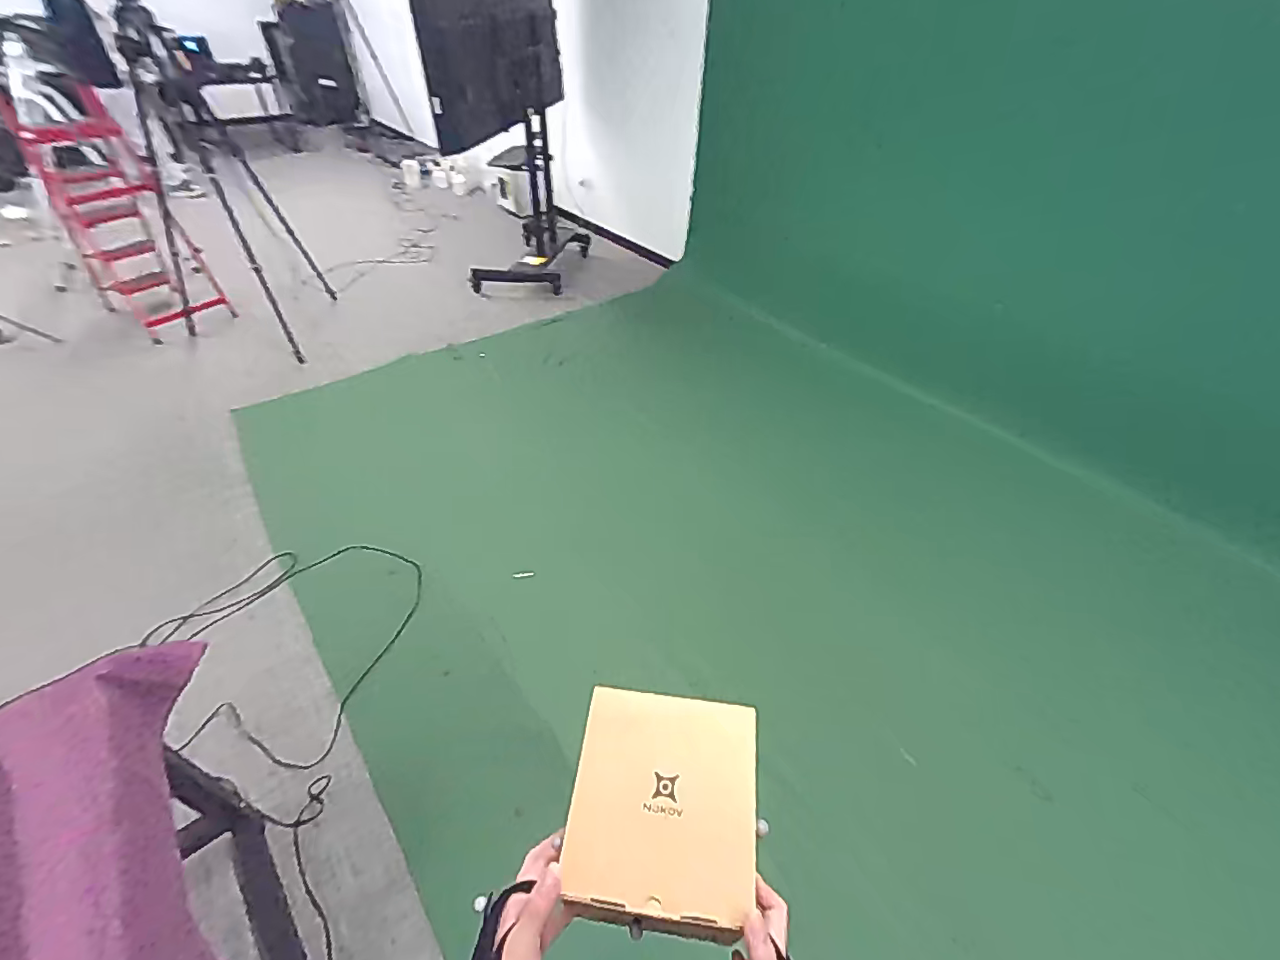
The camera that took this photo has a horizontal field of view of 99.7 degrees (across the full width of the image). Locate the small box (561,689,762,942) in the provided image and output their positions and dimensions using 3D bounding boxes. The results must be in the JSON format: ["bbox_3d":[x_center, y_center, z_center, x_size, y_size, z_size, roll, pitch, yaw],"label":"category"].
[{"bbox_3d":[0.025,0.337,0.544,0.168,0.176,0.179,5,48,5],"label":"small box"}]
